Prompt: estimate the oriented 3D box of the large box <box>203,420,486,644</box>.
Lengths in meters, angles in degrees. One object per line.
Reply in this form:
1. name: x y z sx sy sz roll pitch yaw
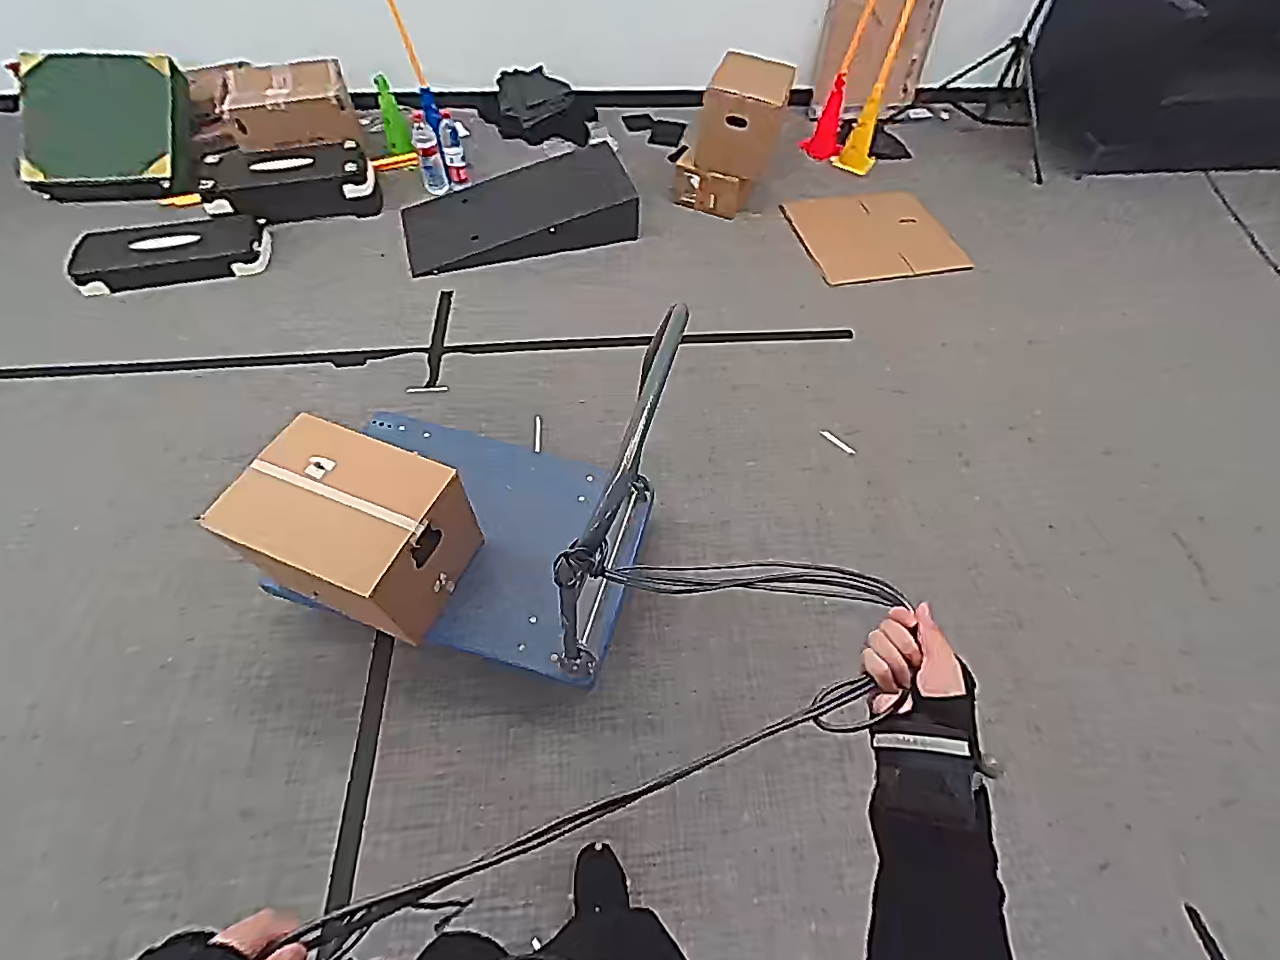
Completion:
1. large box: -0.624 0.124 1.227 0.408 0.320 0.320 19 57 10
